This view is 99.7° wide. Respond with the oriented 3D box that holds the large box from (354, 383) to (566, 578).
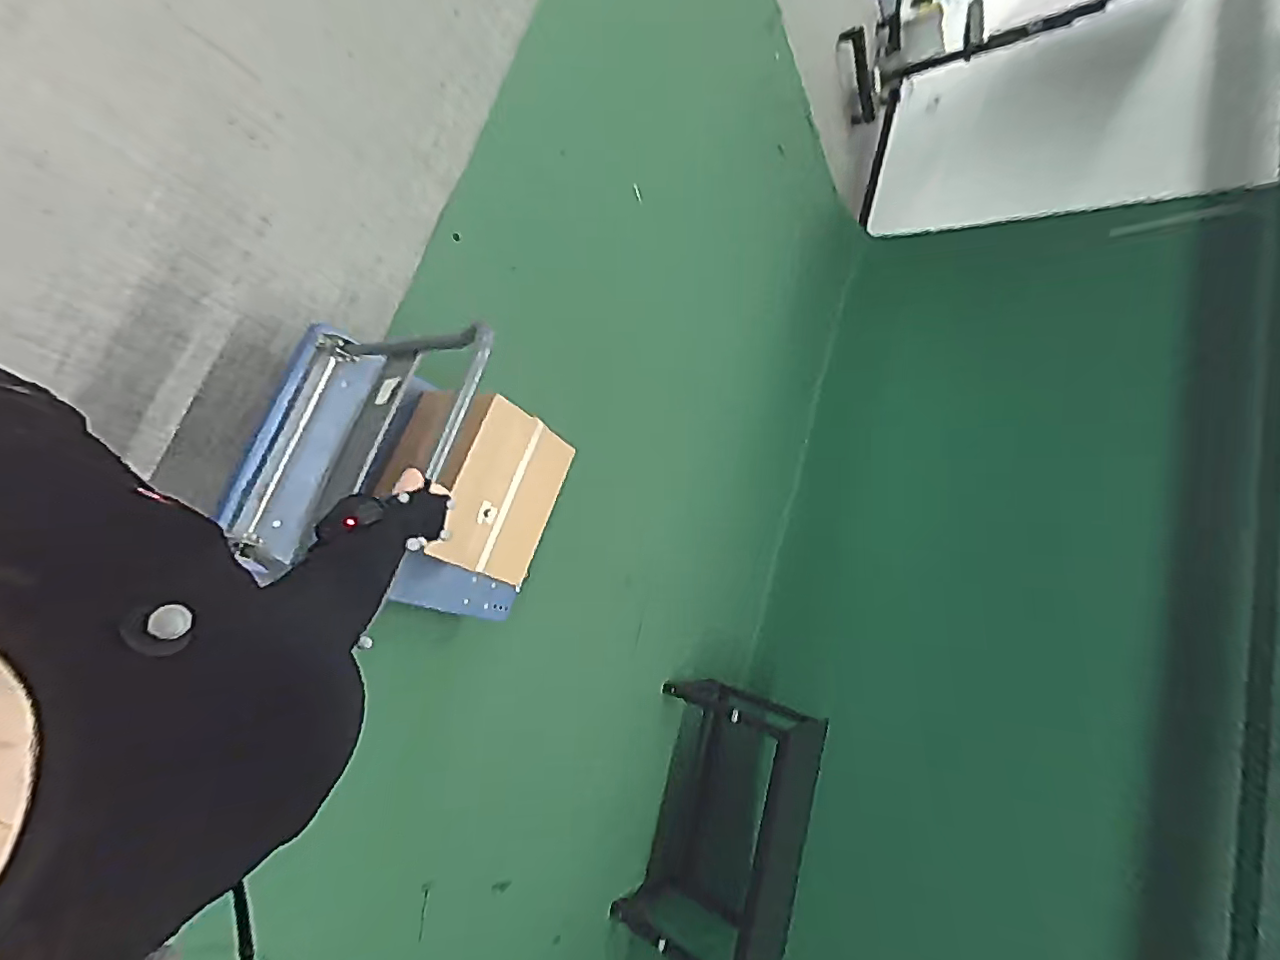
[{"bbox_3d":[-0.463,-0.004,1.428,0.320,0.320,0.408,38,68,-49],"label":"large box"}]
